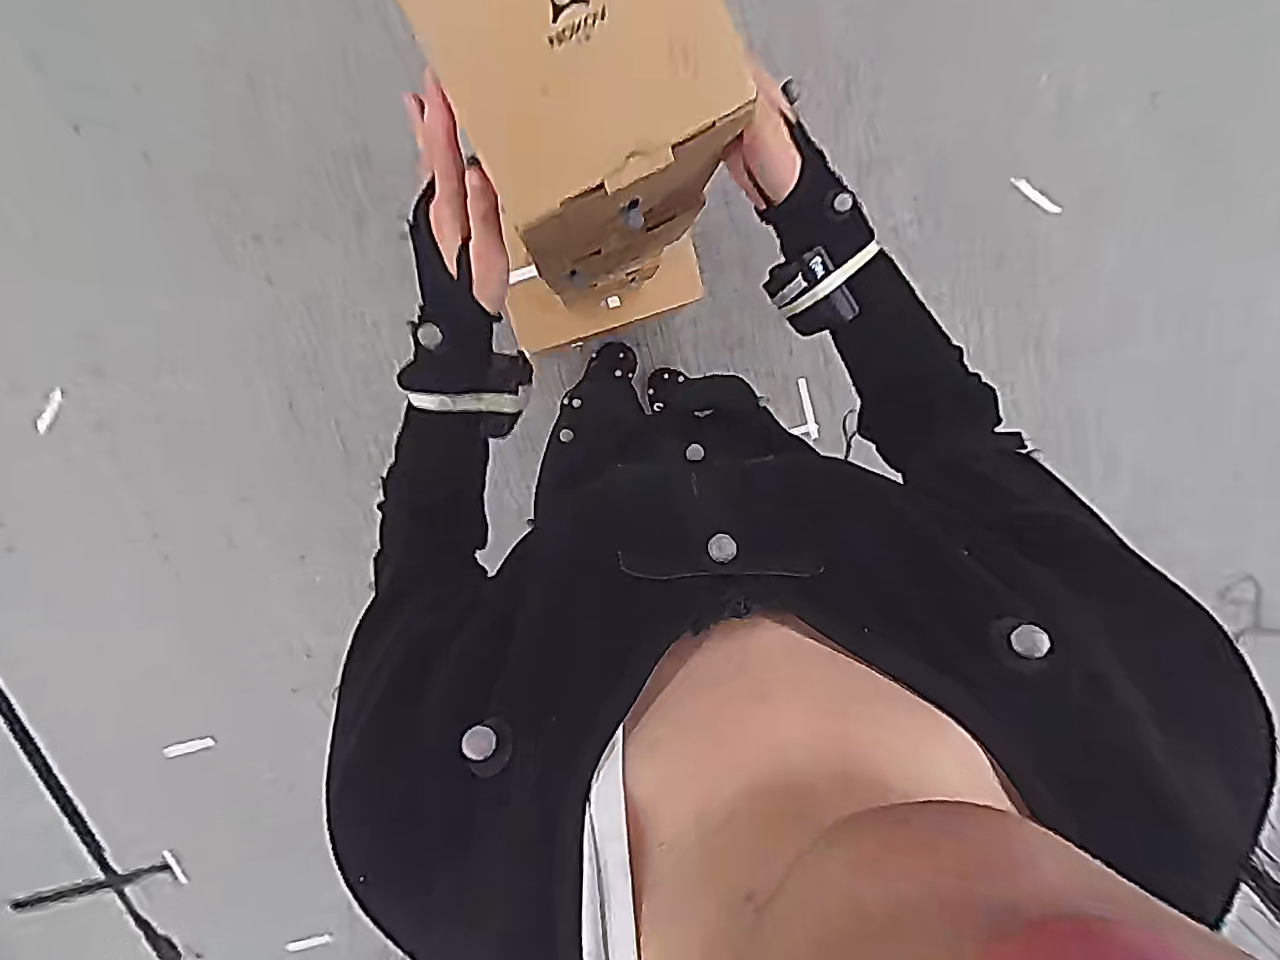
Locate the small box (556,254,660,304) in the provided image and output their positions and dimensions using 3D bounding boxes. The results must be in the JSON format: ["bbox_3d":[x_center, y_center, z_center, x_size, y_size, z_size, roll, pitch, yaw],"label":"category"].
[{"bbox_3d":[-0.076,-0.390,0.863,0.168,0.176,0.179,-20,103,0],"label":"small box"}]

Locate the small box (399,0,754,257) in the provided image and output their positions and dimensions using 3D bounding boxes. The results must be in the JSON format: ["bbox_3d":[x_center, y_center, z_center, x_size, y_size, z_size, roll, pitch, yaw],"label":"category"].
[{"bbox_3d":[-0.045,-0.278,0.384,0.168,0.176,0.179,-27,105,2],"label":"small box"}]

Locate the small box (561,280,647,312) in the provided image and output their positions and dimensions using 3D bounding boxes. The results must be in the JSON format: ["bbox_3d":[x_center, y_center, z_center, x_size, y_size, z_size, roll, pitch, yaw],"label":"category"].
[{"bbox_3d":[-0.093,-0.431,1.019,0.168,0.176,0.179,-18,104,1],"label":"small box"}]

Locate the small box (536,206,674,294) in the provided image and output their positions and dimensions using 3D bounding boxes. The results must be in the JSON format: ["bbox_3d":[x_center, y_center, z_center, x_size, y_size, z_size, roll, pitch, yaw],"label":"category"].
[{"bbox_3d":[-0.070,-0.355,0.702,0.168,0.176,0.179,-24,104,0],"label":"small box"}]
